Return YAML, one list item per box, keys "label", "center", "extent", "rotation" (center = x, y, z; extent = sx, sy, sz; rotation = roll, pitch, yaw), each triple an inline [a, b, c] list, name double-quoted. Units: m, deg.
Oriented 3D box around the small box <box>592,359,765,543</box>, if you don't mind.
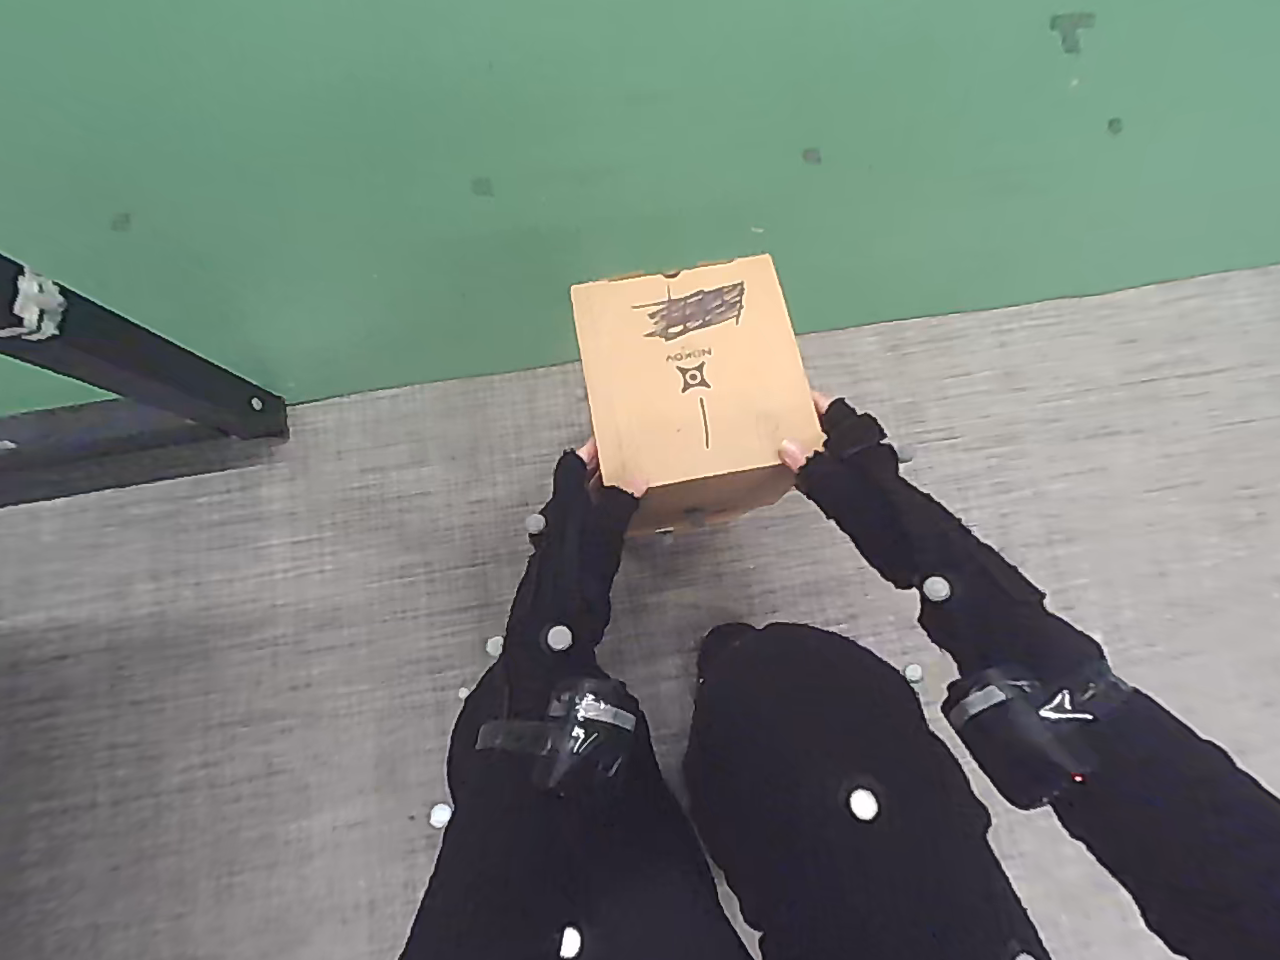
- label: "small box"
  center: [0.037, -0.024, 0.658]
  extent: [0.168, 0.176, 0.179]
  rotation: [-10, 81, -2]
